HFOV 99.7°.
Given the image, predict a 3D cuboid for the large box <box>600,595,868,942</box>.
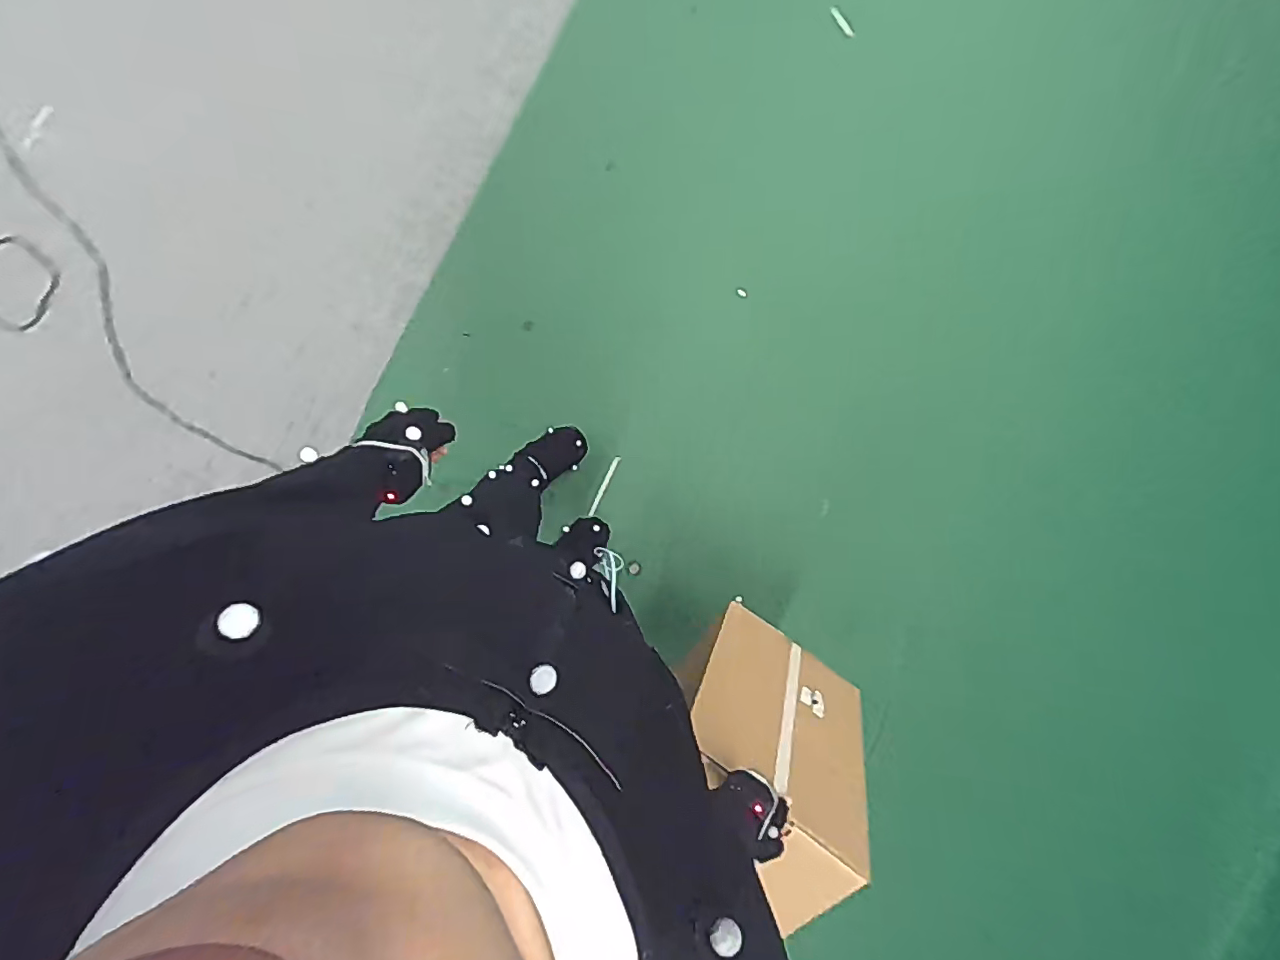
[{"bbox_3d":[0.181,0.497,1.002,0.320,0.408,0.320,35,114,6],"label":"large box"}]
